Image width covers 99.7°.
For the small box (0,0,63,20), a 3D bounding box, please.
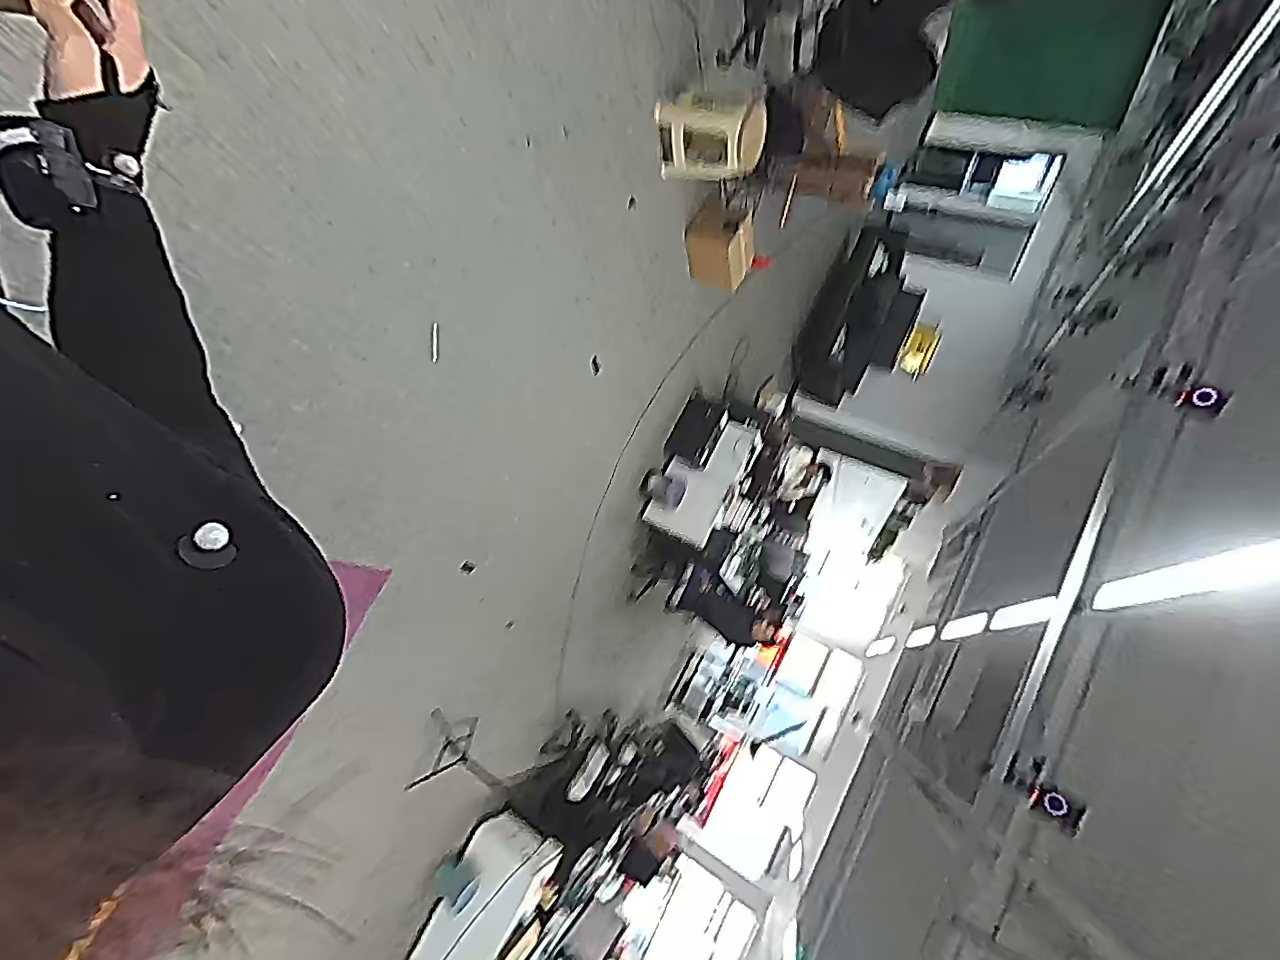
[{"bbox_3d":[-0.521,-0.481,0.378,0.168,0.176,0.179,-63,155,0],"label":"small box"}]
